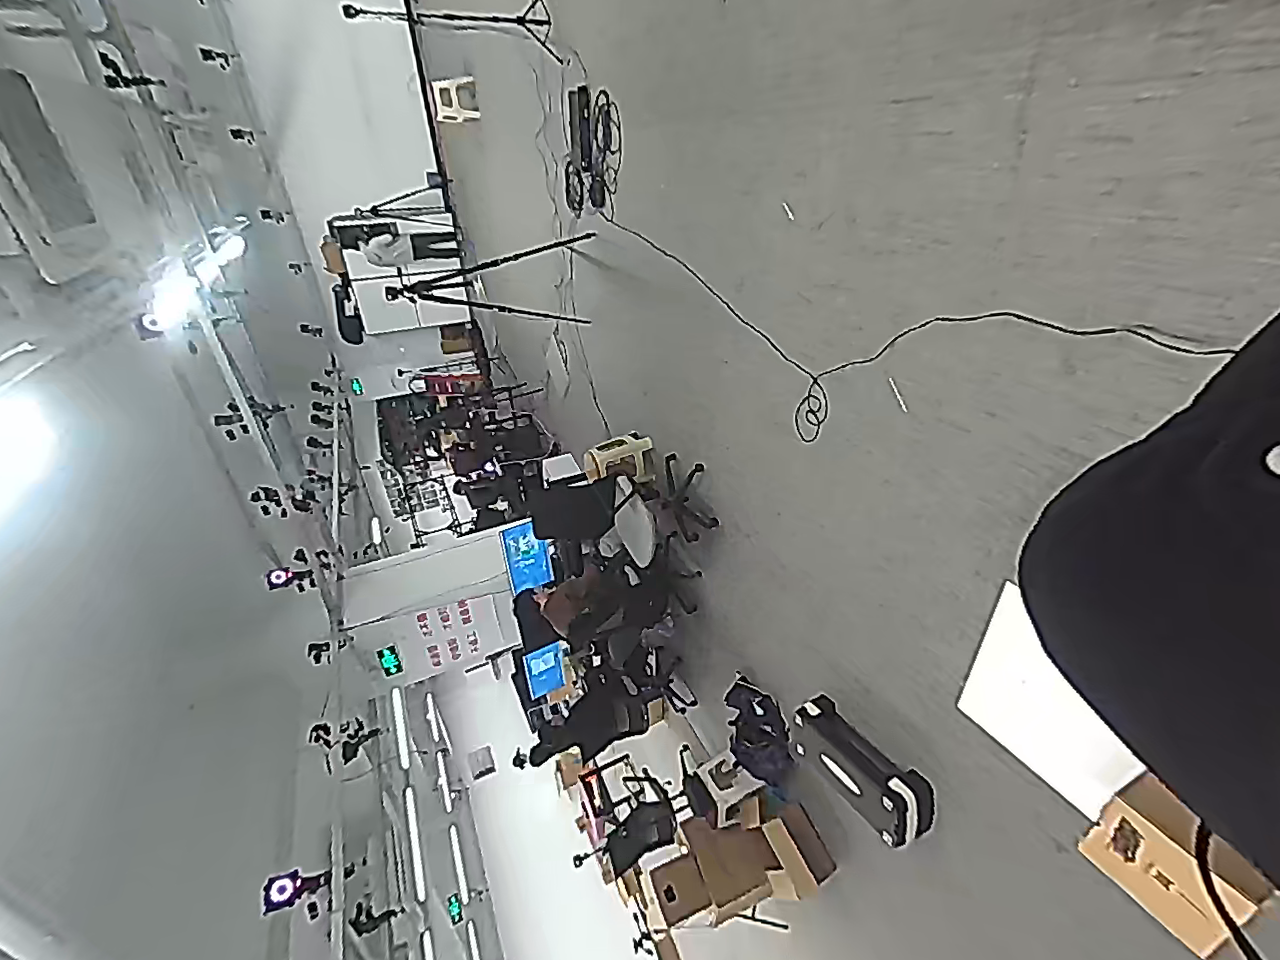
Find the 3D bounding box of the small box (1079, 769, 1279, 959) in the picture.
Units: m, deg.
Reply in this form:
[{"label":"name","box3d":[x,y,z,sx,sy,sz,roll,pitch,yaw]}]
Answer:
[{"label":"small box","box3d":[0.857,0.589,0.846,0.179,0.176,0.168,44,144,52]}]
